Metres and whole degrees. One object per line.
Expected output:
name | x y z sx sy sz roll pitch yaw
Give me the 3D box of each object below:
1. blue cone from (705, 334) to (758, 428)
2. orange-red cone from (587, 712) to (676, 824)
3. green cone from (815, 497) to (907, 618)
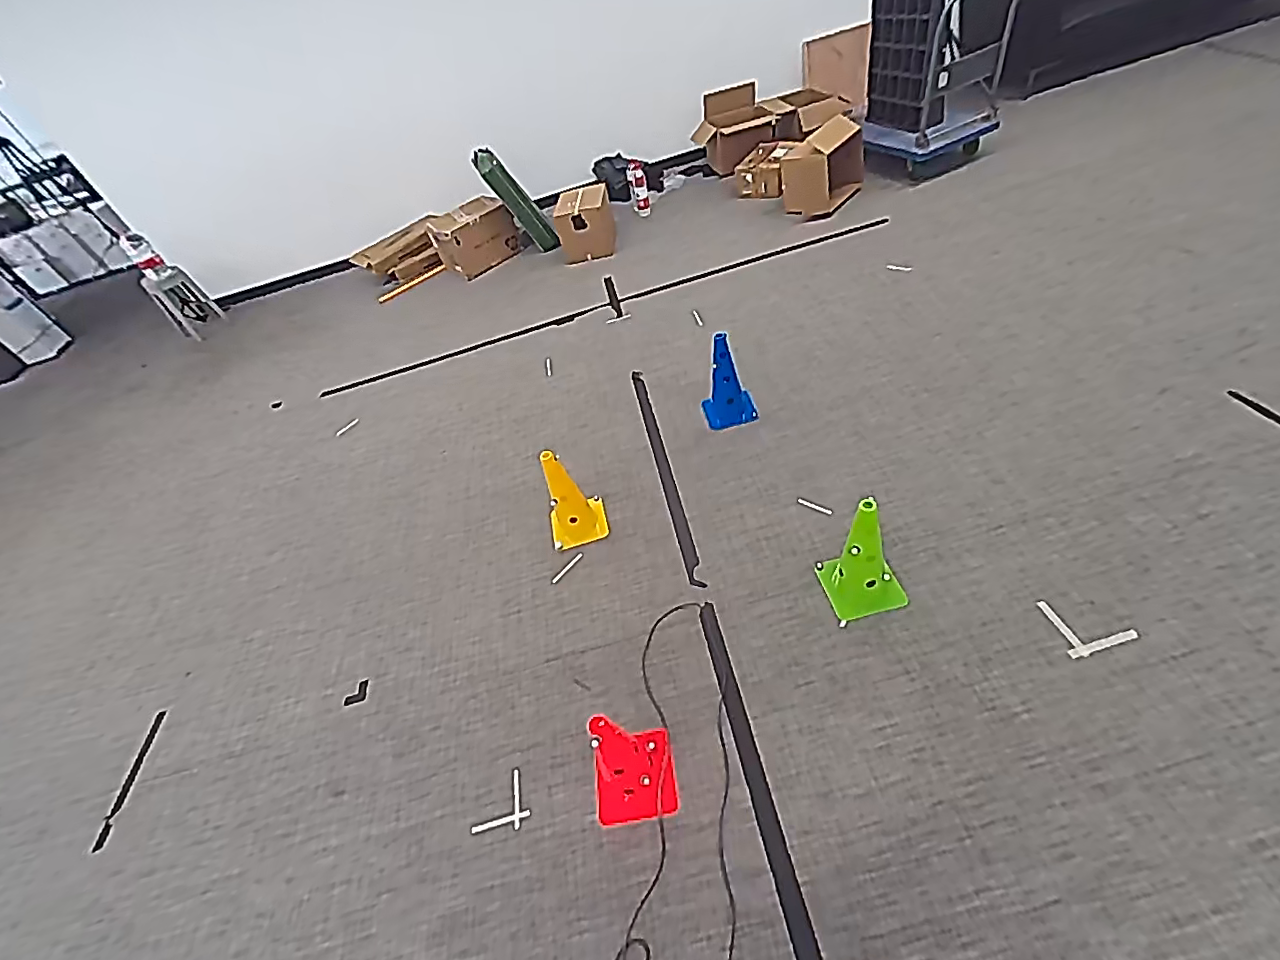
blue cone | 0.338 -0.399 2.110 0.192 0.380 0.193 -13 45 4
orange-red cone | -0.053 0.619 1.233 0.199 0.360 0.198 -14 43 6
green cone | 0.599 0.181 1.446 0.202 0.368 0.200 -15 45 1
